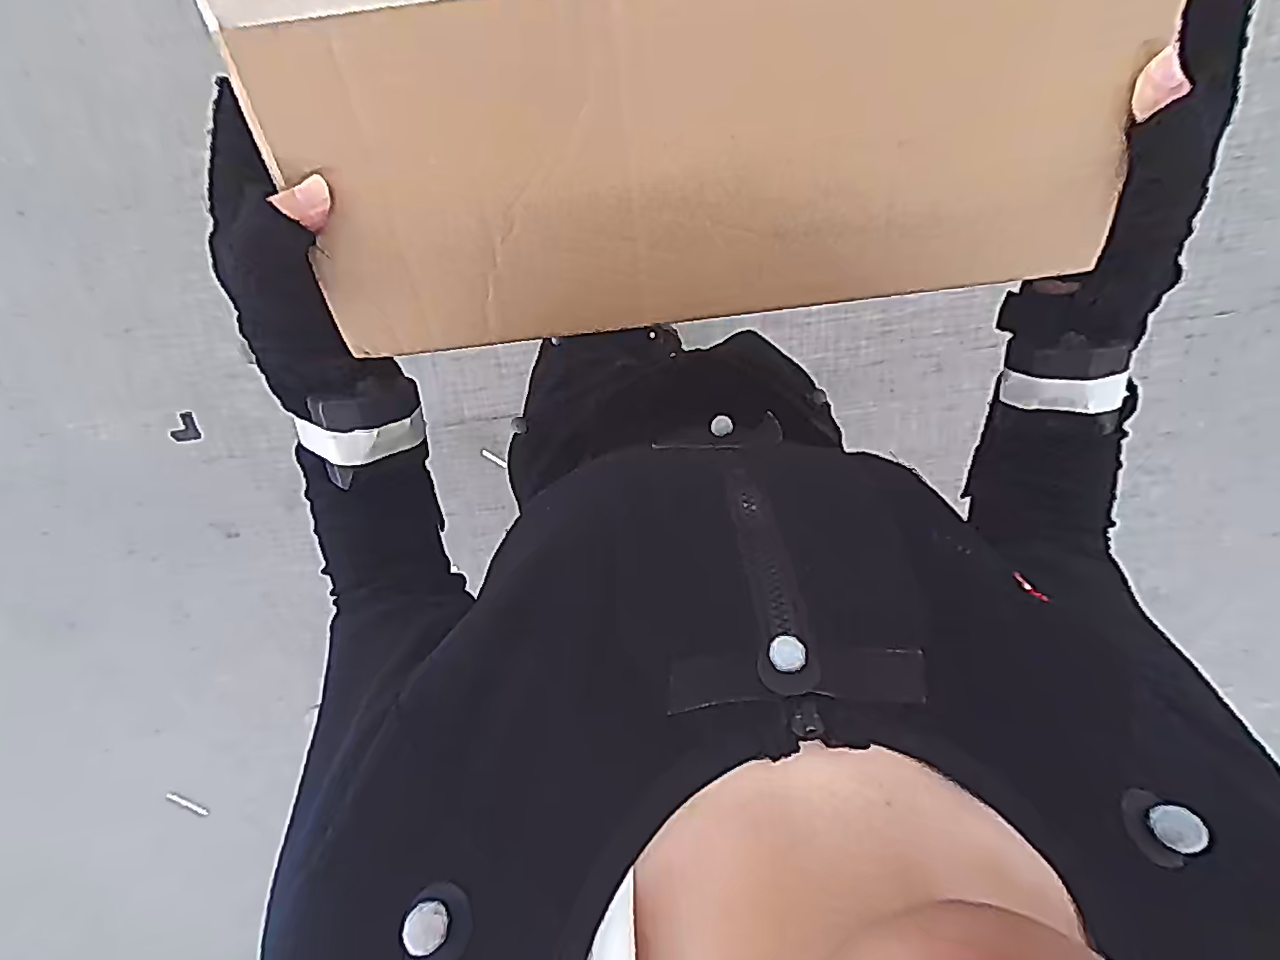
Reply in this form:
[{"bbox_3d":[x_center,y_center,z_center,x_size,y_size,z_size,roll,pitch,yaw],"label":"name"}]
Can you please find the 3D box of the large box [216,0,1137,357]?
[{"bbox_3d":[0.015,-0.305,0.345,0.408,0.320,0.320,-6,123,3],"label":"large box"}]
